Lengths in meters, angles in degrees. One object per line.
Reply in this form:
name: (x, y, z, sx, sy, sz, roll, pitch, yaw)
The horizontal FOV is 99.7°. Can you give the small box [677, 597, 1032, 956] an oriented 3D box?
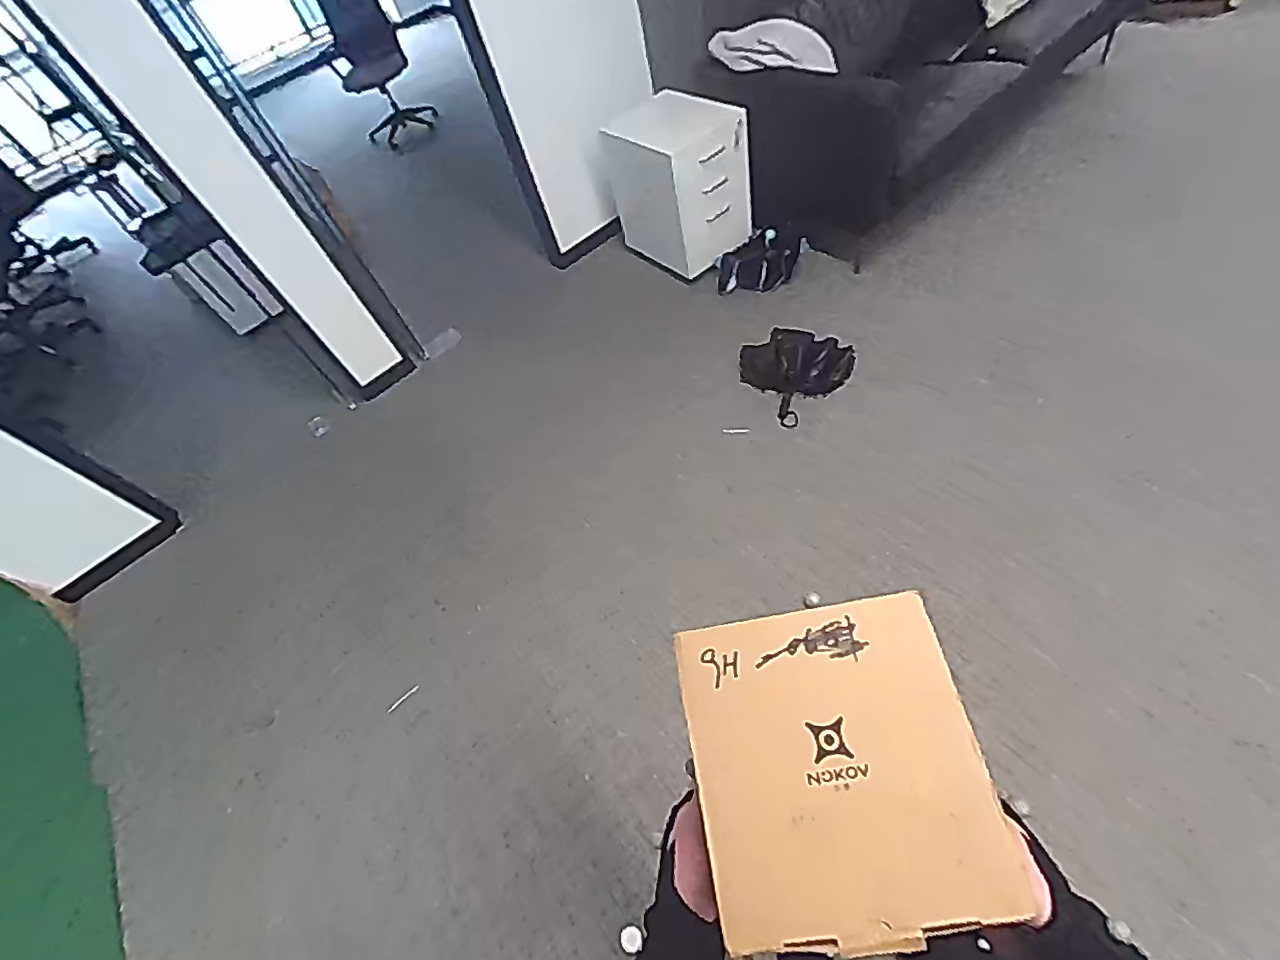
small box: (0.129, 0.199, 0.395, 0.168, 0.176, 0.179, -11, 65, 5)
